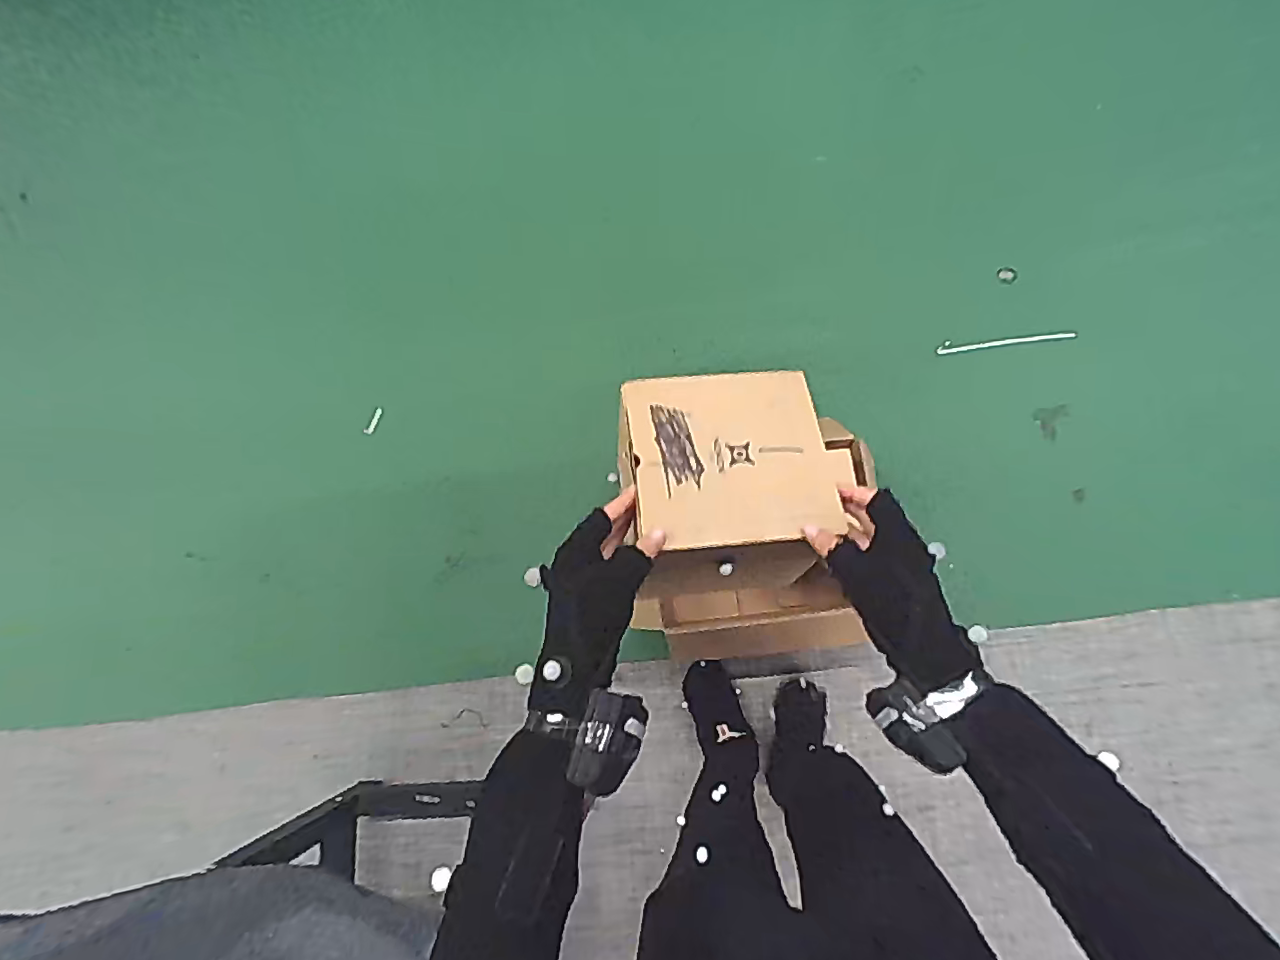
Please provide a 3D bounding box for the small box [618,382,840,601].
[{"bbox_3d":[0.071,0.020,0.551,0.179,0.176,0.168,-4,65,-6],"label":"small box"}]
